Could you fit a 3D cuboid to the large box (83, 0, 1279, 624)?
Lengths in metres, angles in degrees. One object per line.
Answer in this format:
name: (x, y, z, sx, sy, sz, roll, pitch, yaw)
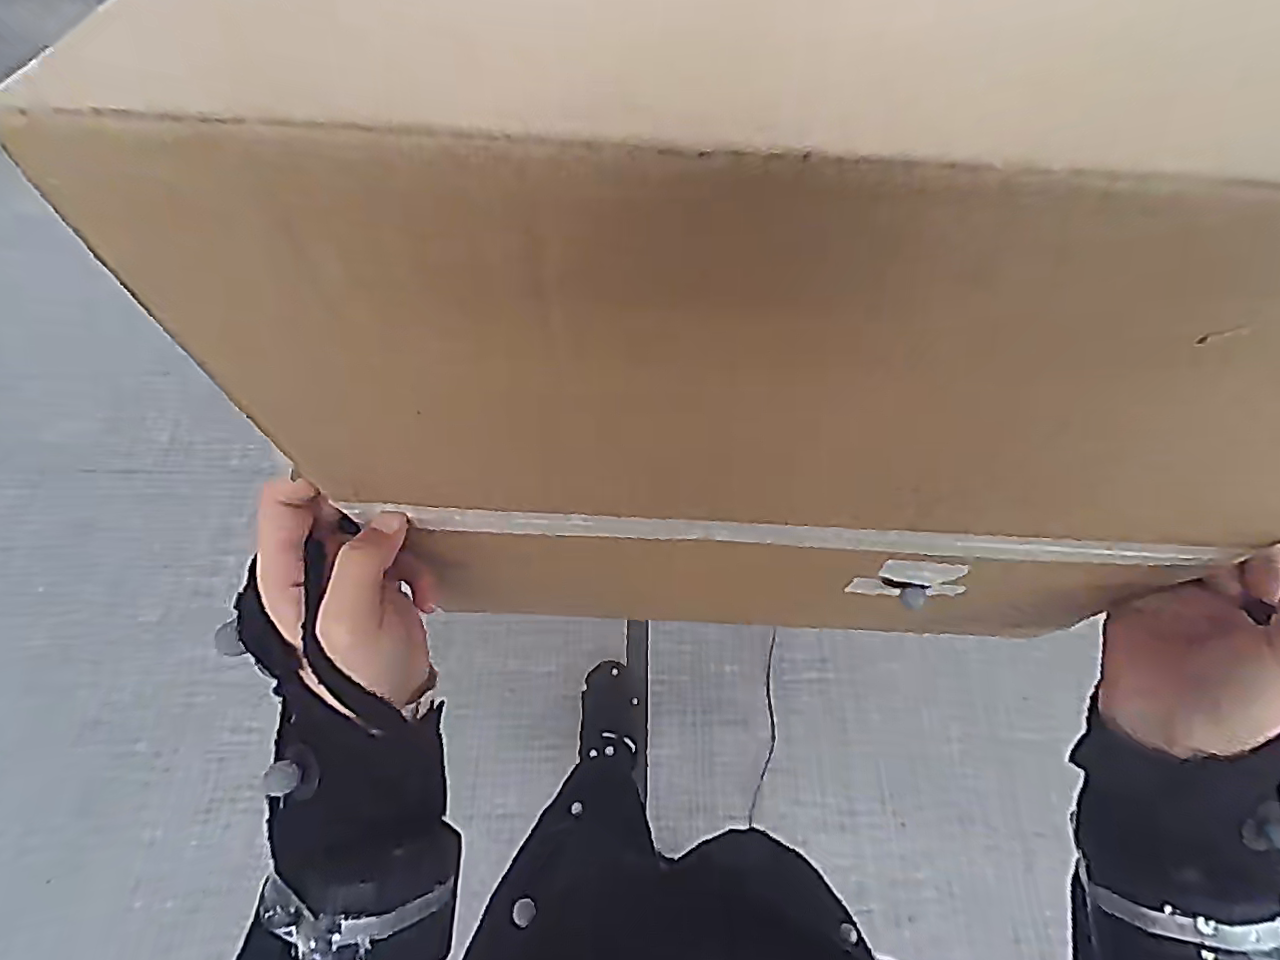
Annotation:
large box: (0.069, -0.111, 0.323, 0.408, 0.320, 0.320, 2, 61, -1)
